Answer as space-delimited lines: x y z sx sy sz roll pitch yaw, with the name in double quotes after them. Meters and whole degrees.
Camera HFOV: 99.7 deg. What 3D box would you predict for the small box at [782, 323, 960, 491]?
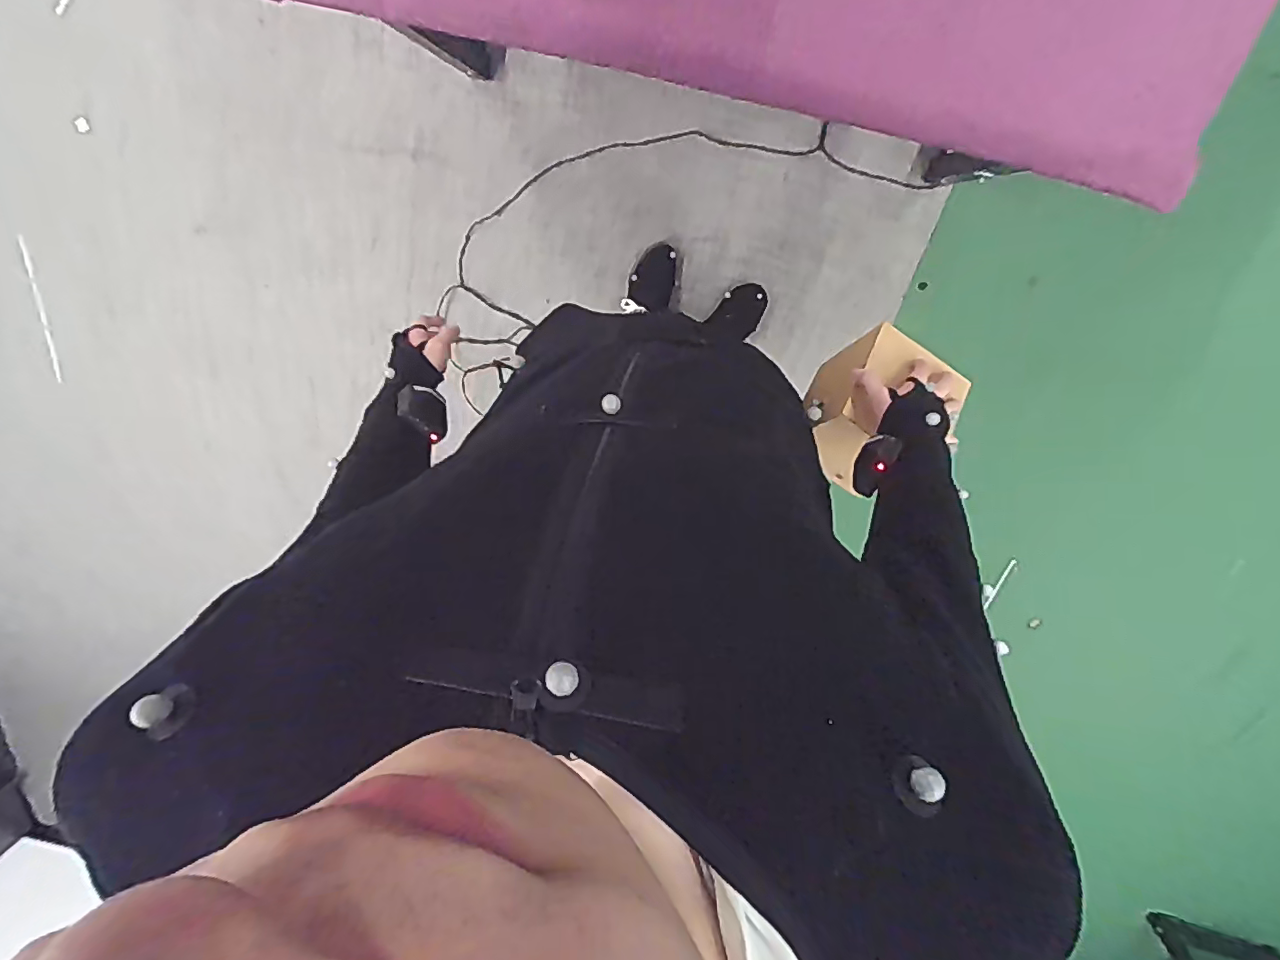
0.349 -0.102 0.847 0.168 0.176 0.179 33 72 -7 "small box"
